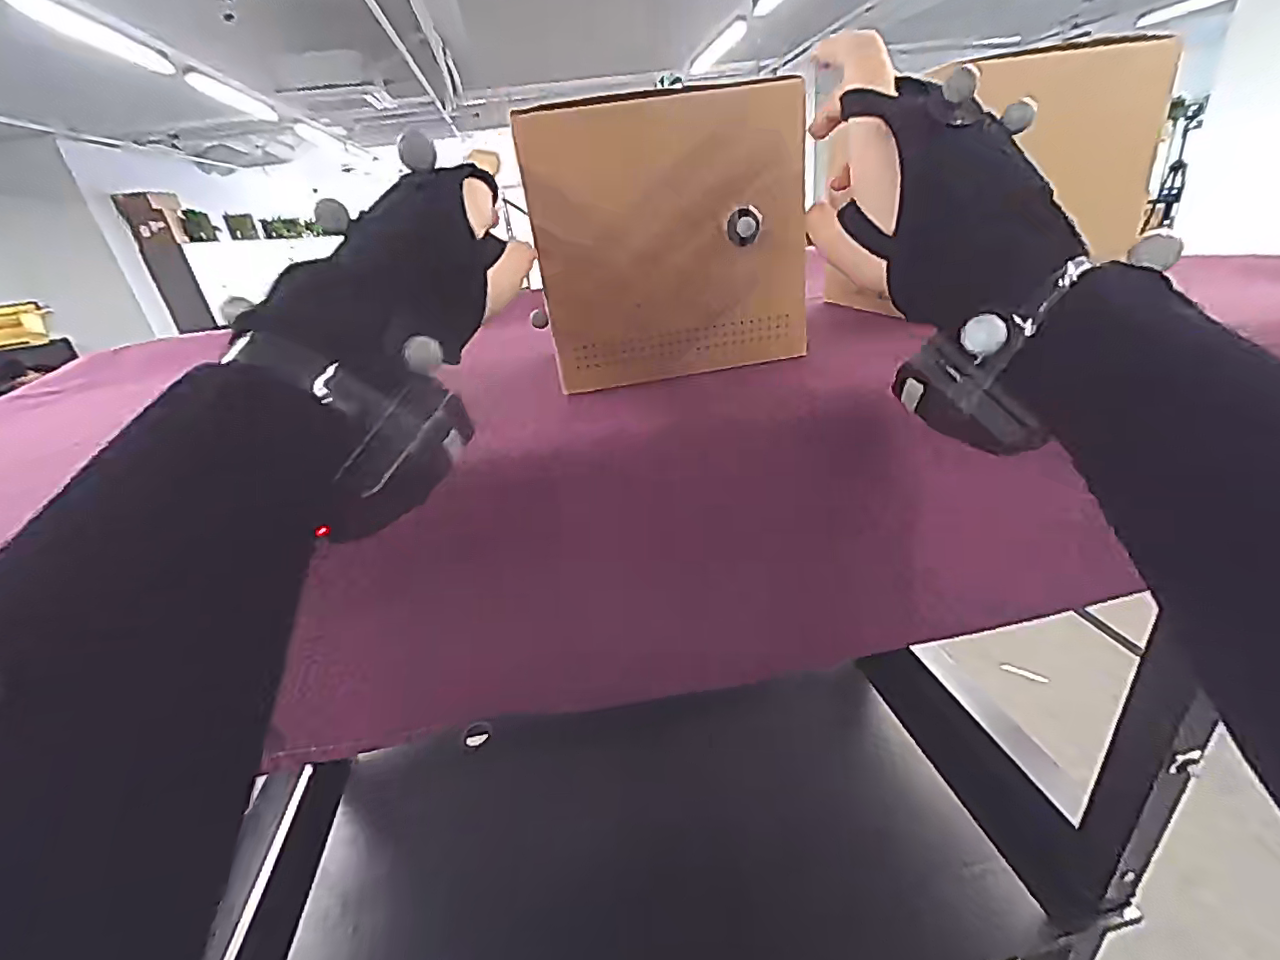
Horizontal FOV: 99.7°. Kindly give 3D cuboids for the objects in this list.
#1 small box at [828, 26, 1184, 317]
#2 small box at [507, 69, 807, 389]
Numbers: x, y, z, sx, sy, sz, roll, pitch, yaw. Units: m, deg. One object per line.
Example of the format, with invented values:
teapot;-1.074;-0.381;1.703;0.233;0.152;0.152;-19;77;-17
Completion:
small box;0.275;-0.244;0.454;0.179;0.176;0.168;-12;25;-8
small box;0.011;-0.180;0.410;0.179;0.176;0.168;-11;25;-4
